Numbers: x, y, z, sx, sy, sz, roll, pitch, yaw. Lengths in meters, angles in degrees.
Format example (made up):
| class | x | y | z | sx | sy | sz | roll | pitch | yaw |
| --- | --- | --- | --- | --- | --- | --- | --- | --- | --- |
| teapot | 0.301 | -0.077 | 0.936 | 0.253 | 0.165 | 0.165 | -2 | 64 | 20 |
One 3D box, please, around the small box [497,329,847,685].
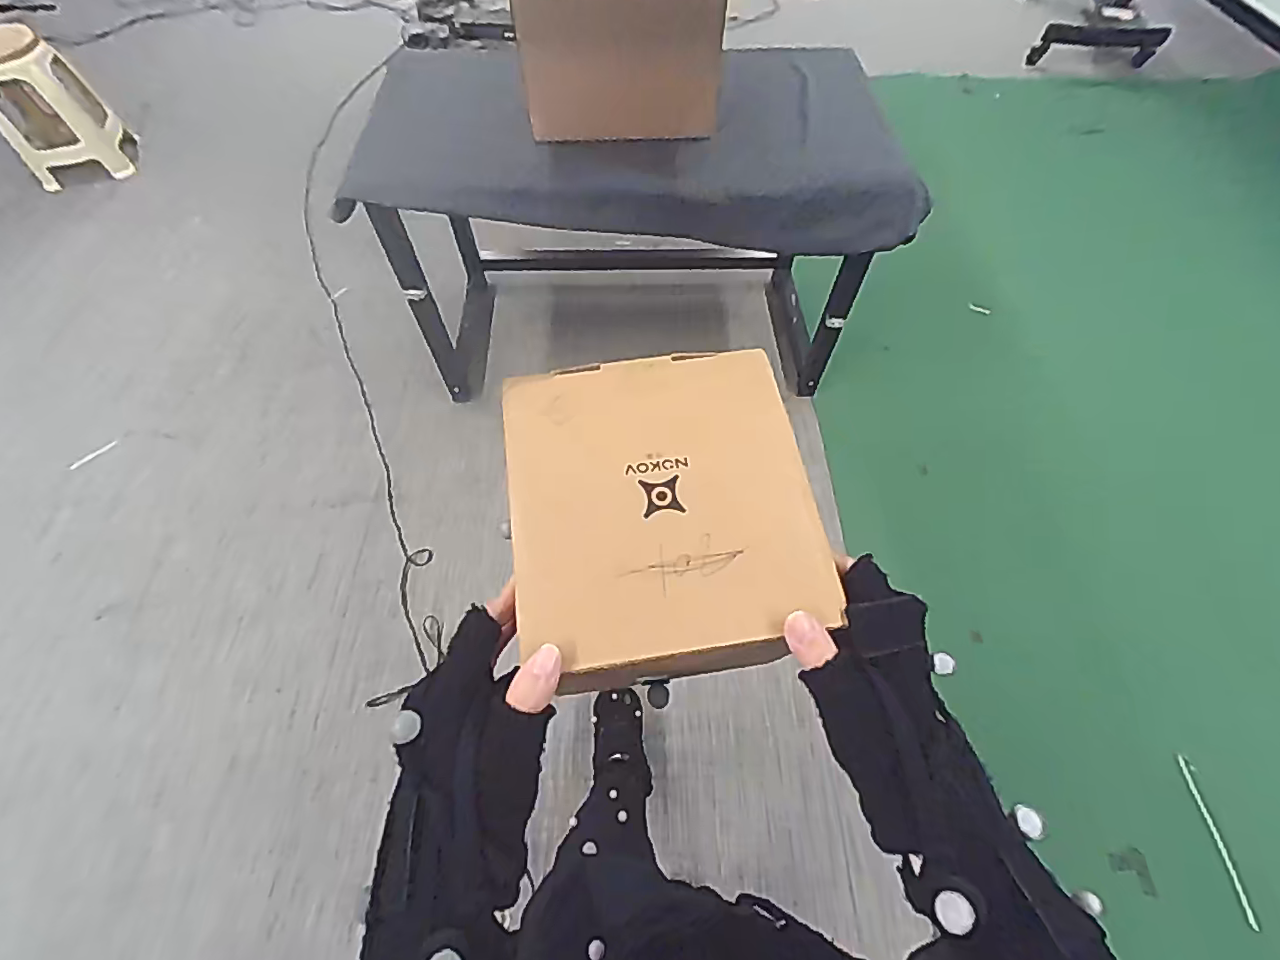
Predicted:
| class | x | y | z | sx | sy | sz | roll | pitch | yaw |
| --- | --- | --- | --- | --- | --- | --- | --- | --- | --- |
| small box | 0.005 | 0.028 | 0.361 | 0.168 | 0.176 | 0.179 | -8 | 66 | -5 |
